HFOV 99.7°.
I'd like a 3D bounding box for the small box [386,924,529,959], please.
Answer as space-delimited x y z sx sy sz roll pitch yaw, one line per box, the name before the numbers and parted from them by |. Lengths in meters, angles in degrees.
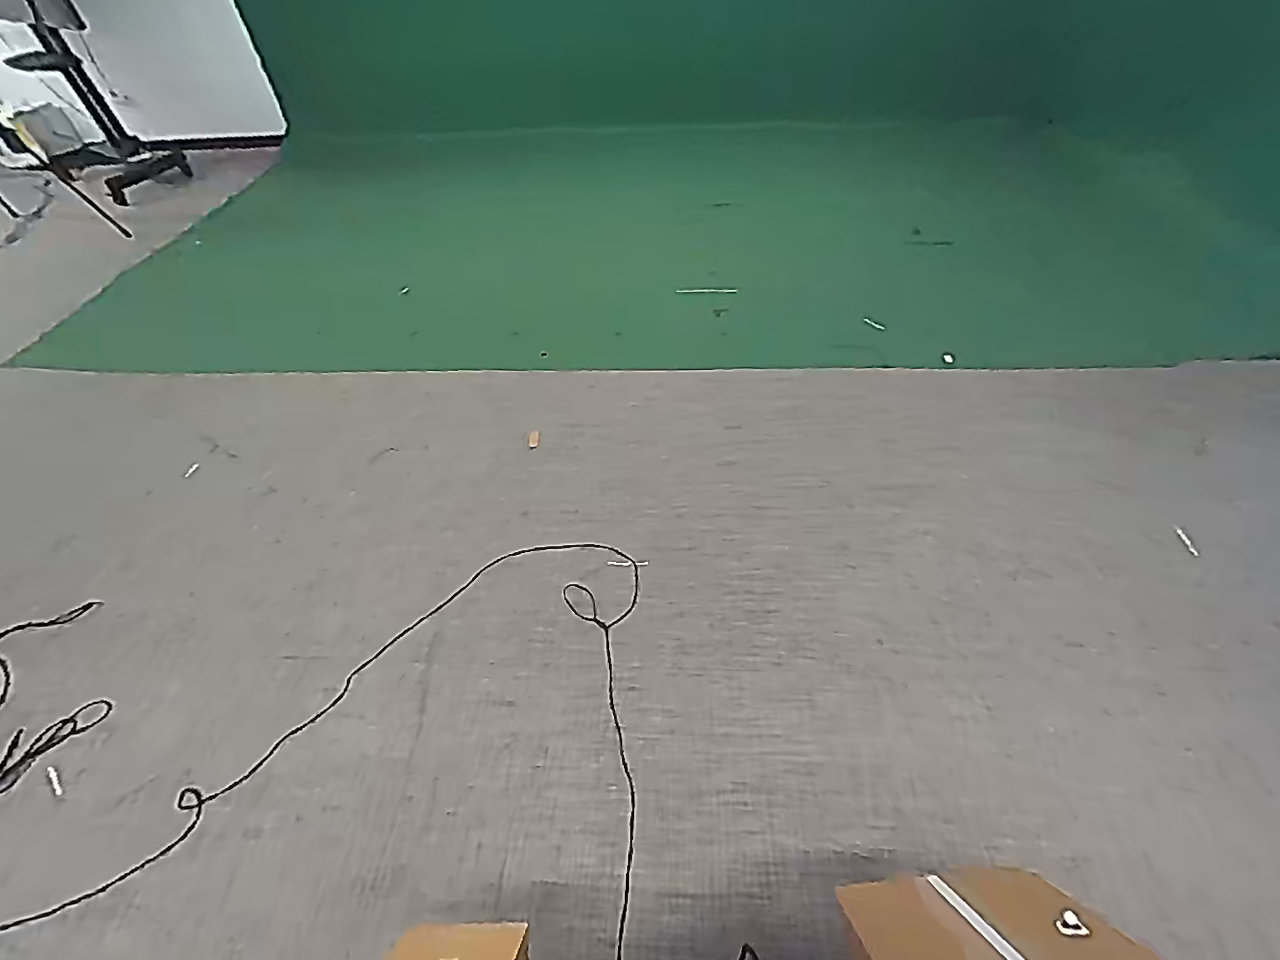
small box | -0.233 0.670 0.635 0.168 0.179 0.176 -2 81 2
